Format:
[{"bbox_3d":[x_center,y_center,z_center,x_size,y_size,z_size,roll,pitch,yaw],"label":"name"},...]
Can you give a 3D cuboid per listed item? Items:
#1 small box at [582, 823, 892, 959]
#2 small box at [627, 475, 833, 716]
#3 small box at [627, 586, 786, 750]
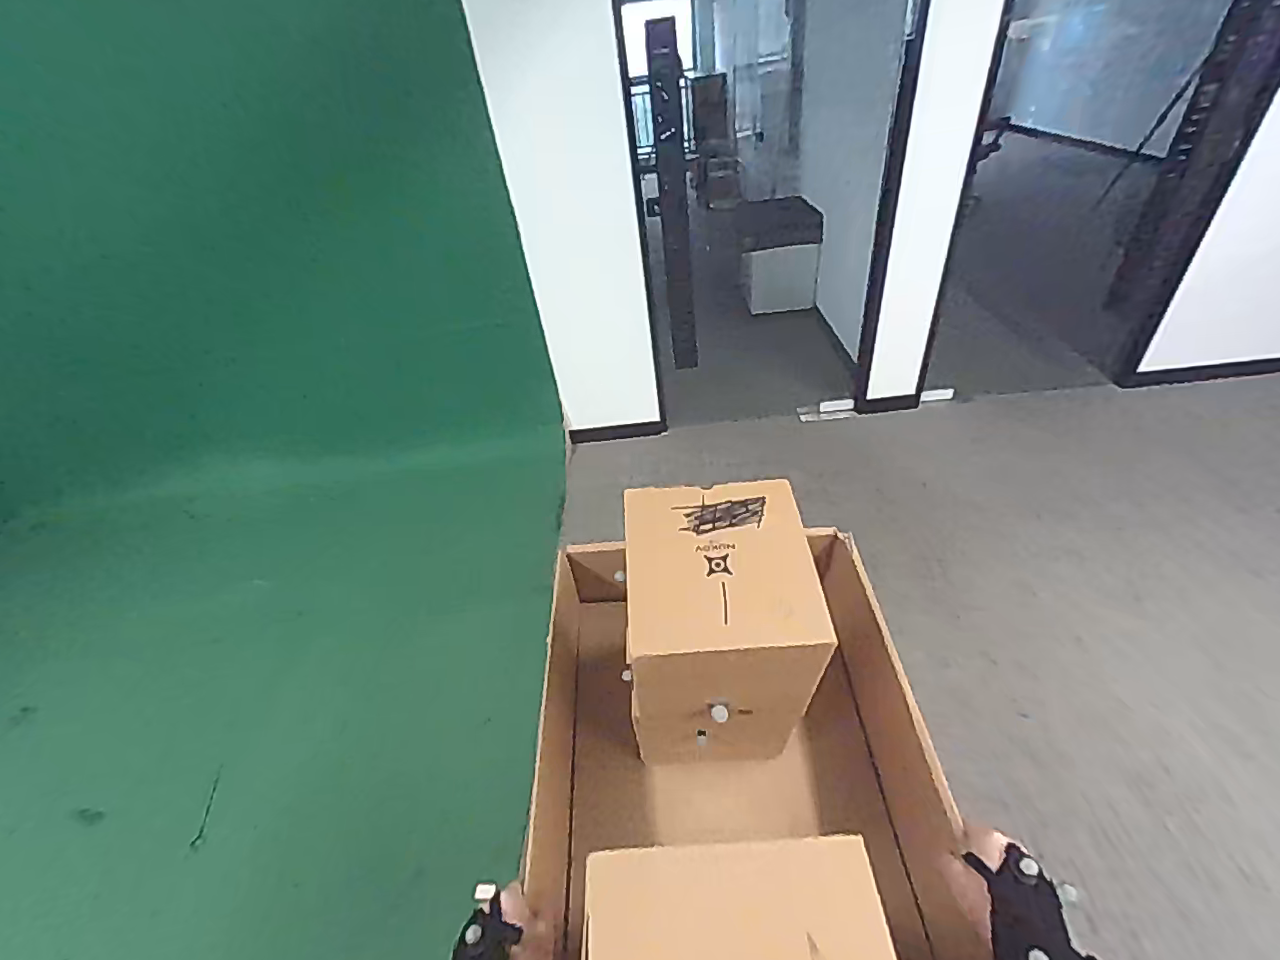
[{"bbox_3d":[0.059,0.338,0.350,0.179,0.176,0.168,-4,48,-1],"label":"small box"},{"bbox_3d":[0.073,0.117,0.541,0.168,0.176,0.179,-4,50,1],"label":"small box"},{"bbox_3d":[0.081,0.223,0.668,0.179,0.176,0.168,-5,50,3],"label":"small box"}]
